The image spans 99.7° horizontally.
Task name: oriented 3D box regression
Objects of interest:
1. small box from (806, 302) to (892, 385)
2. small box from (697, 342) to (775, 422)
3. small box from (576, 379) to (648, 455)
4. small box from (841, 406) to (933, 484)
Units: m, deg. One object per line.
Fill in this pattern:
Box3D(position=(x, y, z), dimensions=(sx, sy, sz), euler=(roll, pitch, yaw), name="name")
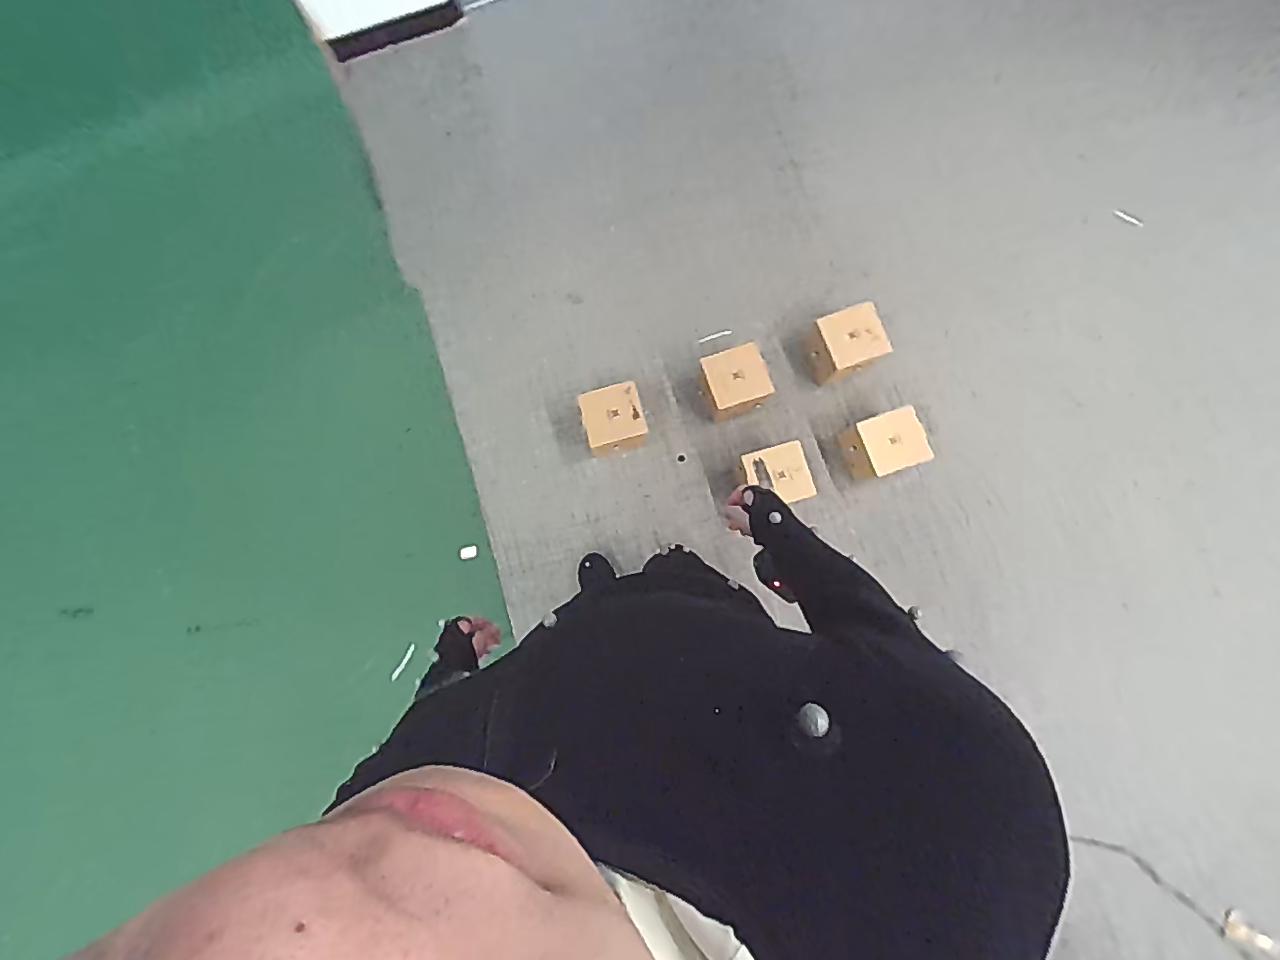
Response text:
Box3D(position=(0.621, -0.405, 1.638), dimensions=(0.179, 0.176, 0.168), euler=(-18, 82, -2), name="small box")
Box3D(position=(0.282, -0.291, 1.630), dimensions=(0.179, 0.176, 0.168), euler=(-17, 81, -1), name="small box")
Box3D(position=(-0.080, -0.183, 1.622), dimensions=(0.179, 0.176, 0.168), euler=(-15, 82, 0), name="small box")
Box3D(position=(0.714, -0.096, 1.594), dimensions=(0.179, 0.176, 0.168), euler=(-18, 81, -2), name="small box")
